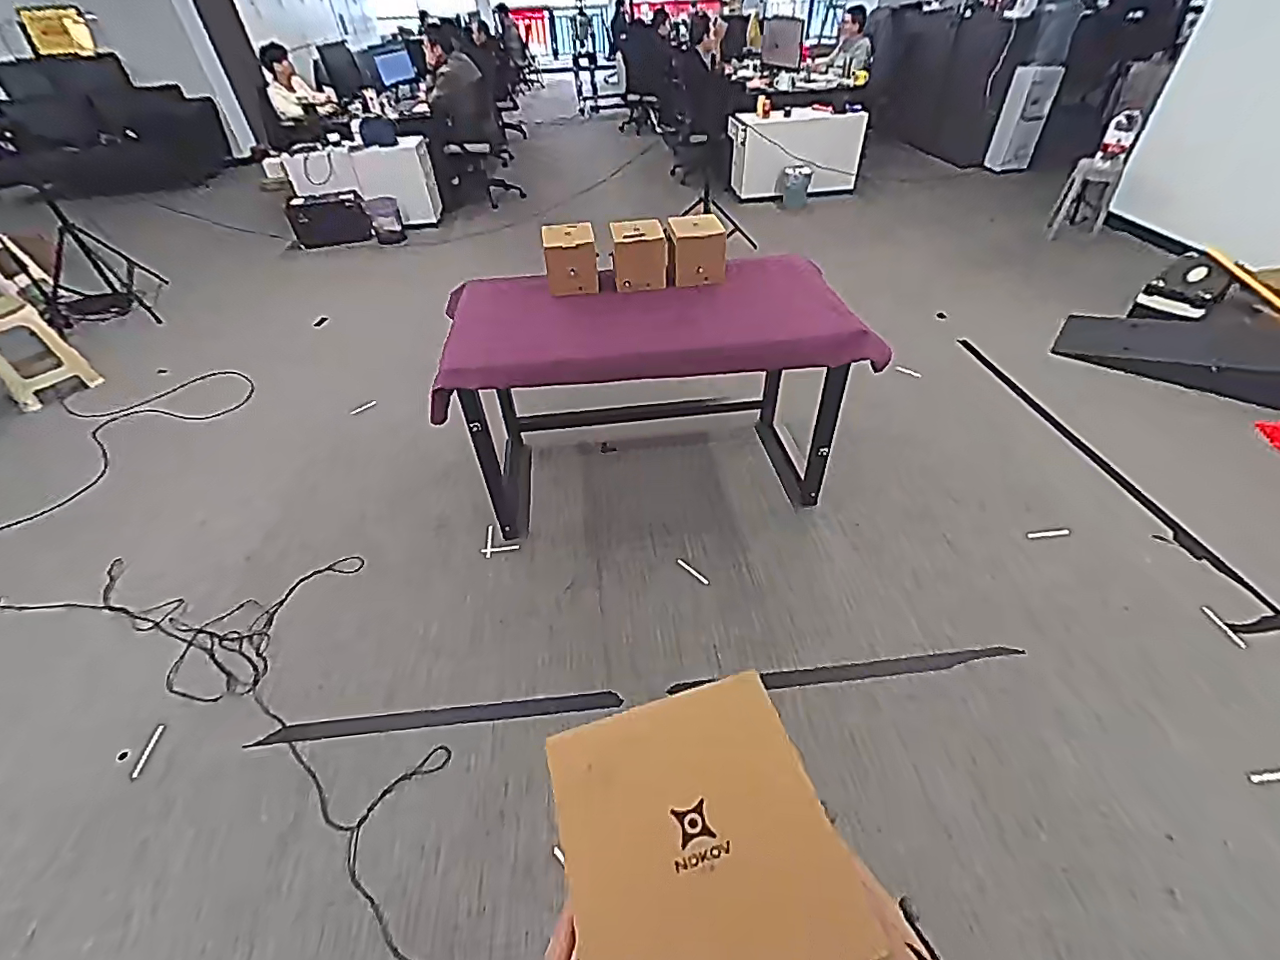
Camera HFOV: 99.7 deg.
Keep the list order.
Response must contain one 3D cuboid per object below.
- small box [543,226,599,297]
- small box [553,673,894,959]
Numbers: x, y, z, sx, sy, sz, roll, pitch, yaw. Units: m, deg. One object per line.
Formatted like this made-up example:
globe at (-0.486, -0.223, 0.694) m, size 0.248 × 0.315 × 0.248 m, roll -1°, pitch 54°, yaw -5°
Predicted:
small box at (-0.231, -0.726, 1.811) m, size 0.168 × 0.176 × 0.179 m, roll -7°, pitch 46°, yaw -4°
small box at (0.042, 0.279, 0.393) m, size 0.168 × 0.176 × 0.179 m, roll -14°, pitch 44°, yaw -10°
